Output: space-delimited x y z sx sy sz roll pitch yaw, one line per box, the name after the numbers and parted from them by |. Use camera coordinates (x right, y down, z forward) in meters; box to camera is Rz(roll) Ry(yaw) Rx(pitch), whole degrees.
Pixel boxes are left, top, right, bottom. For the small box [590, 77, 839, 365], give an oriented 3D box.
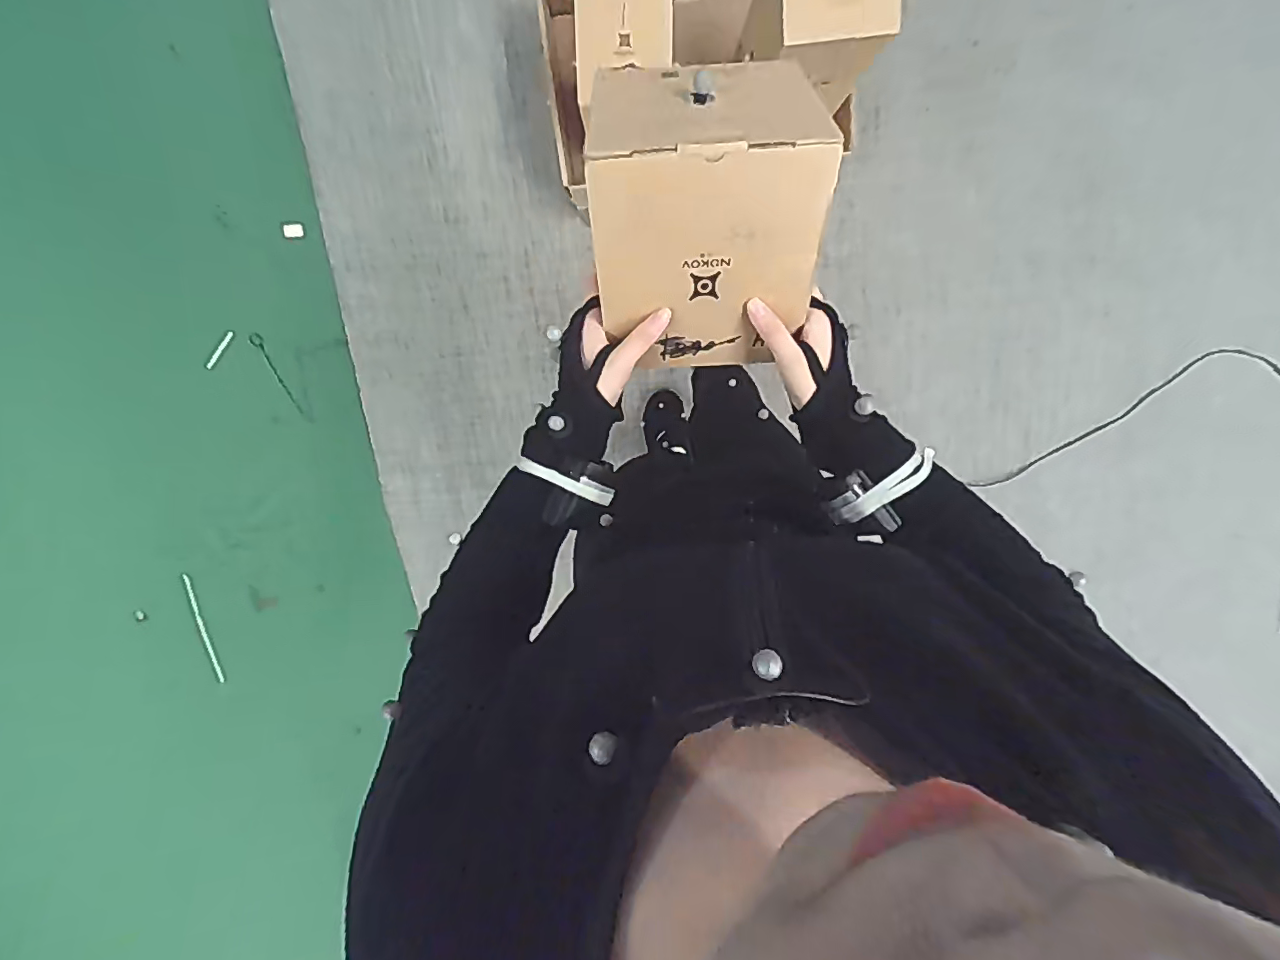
0.050 -0.221 0.461 0.168 0.176 0.179 -1 140 3 | small box

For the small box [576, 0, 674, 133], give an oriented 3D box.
-0.023 -0.749 0.989 0.168 0.176 0.179 0 104 0 | small box

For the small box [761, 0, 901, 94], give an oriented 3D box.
0.282 -0.725 0.825 0.168 0.176 0.179 -3 105 3 | small box
